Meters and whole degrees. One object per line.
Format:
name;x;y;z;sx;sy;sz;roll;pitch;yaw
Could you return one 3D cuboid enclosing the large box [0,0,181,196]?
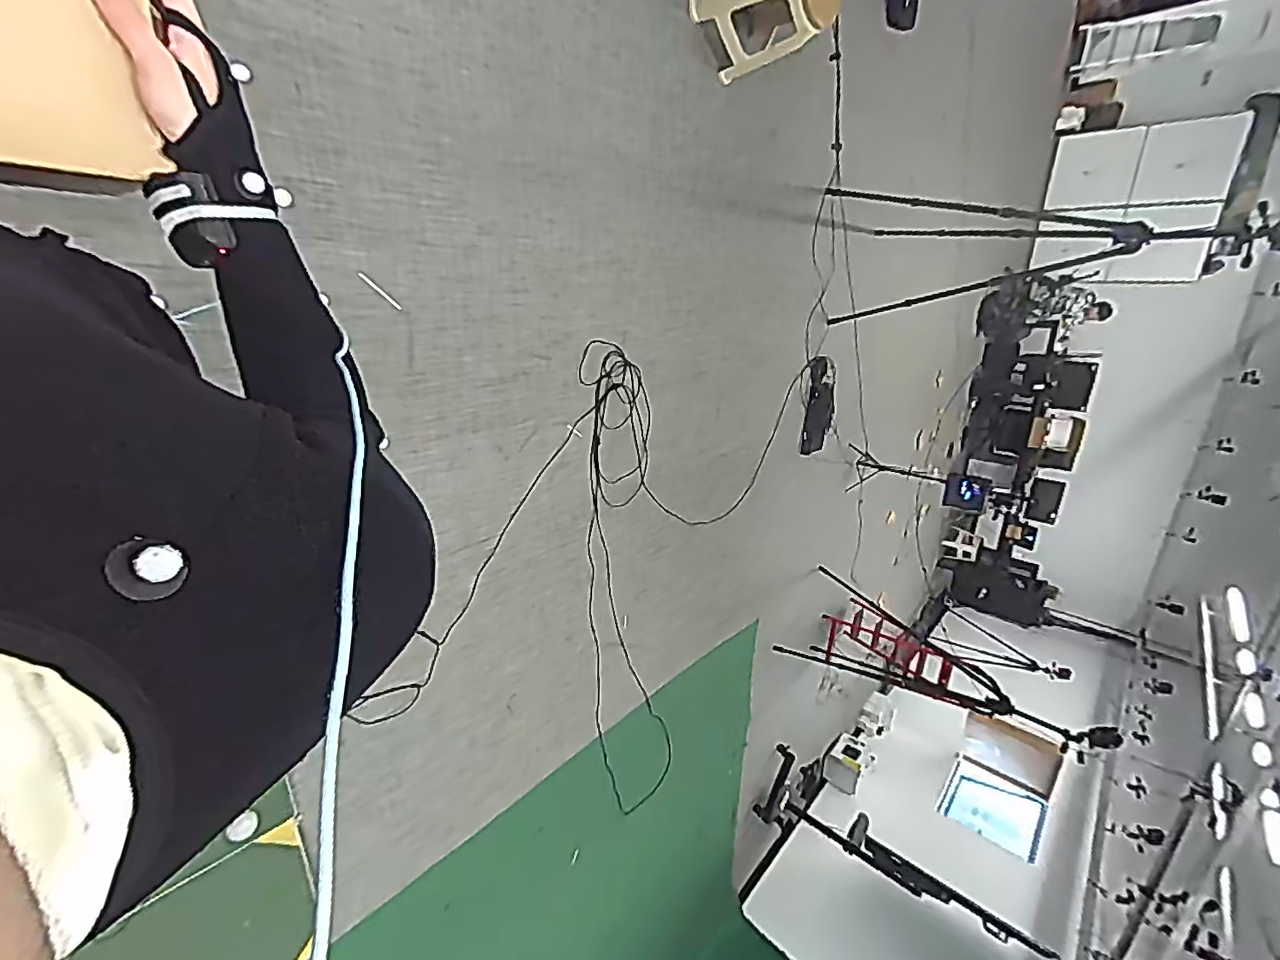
large box;-0.623;-0.390;0.354;0.408;0.320;0.320;-19;121;-46
